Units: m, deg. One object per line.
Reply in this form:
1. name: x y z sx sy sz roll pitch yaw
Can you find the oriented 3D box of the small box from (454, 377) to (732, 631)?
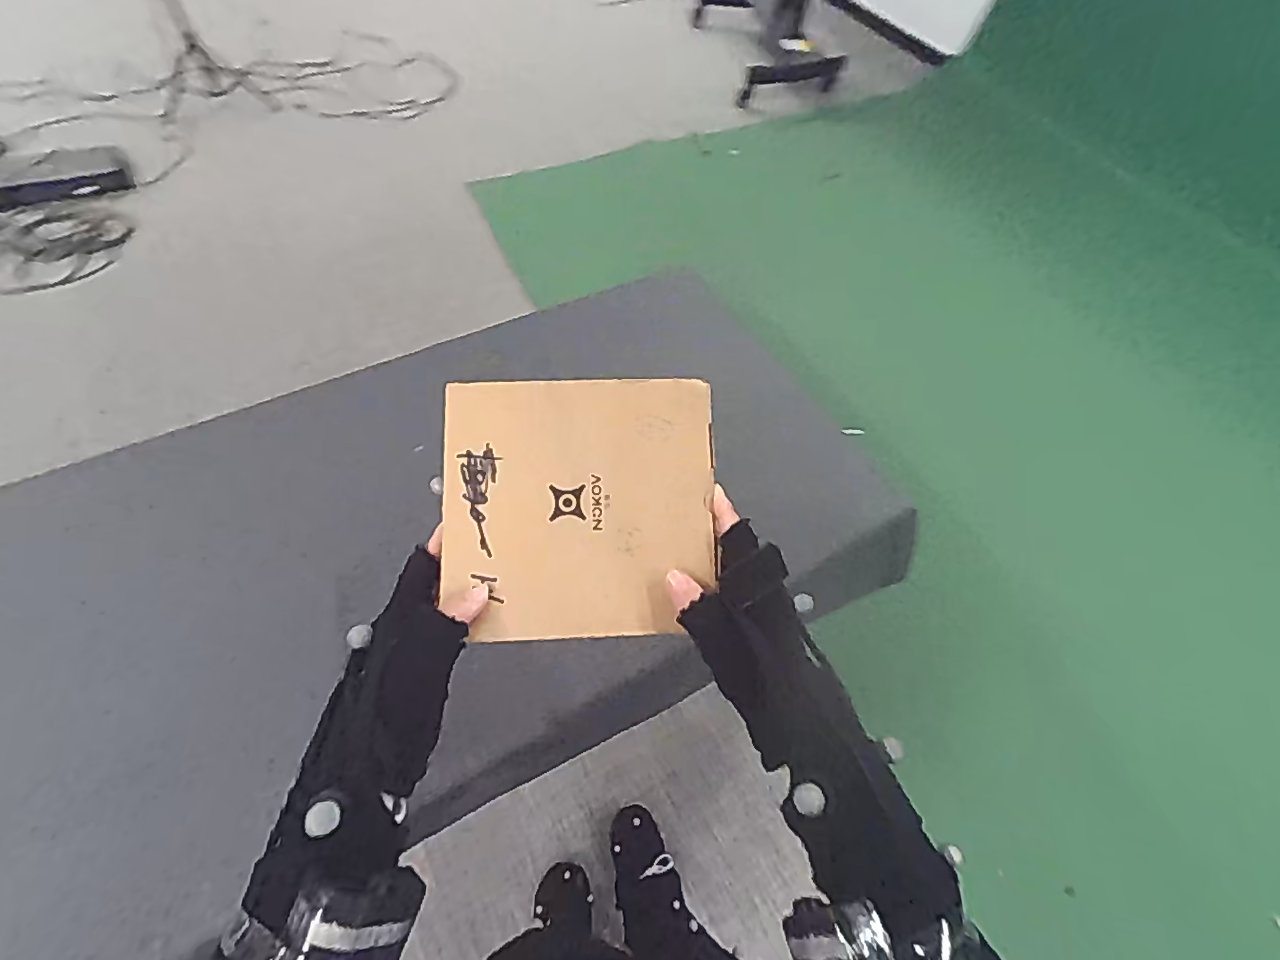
1. small box: -0.034 0.026 0.428 0.179 0.176 0.168 0 80 -3
